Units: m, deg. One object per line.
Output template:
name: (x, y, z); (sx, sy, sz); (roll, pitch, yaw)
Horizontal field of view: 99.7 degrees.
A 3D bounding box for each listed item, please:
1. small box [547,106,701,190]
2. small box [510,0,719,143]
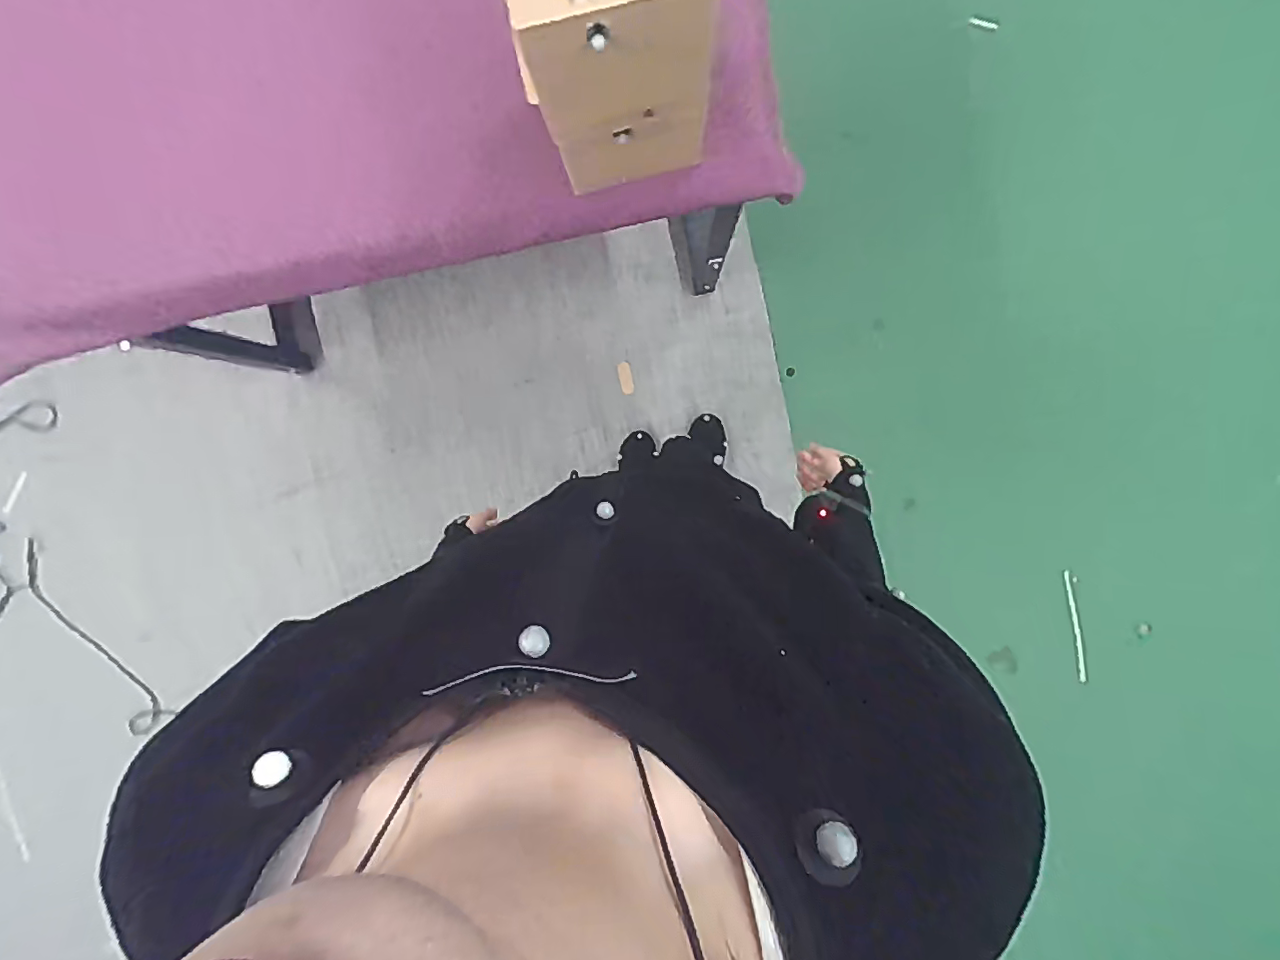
small box: (-0.024, -0.486, 0.658); (0.179, 0.176, 0.168); (-13, 94, 3)
small box: (-0.029, -0.456, 0.495); (0.168, 0.176, 0.179); (-11, 93, 4)
